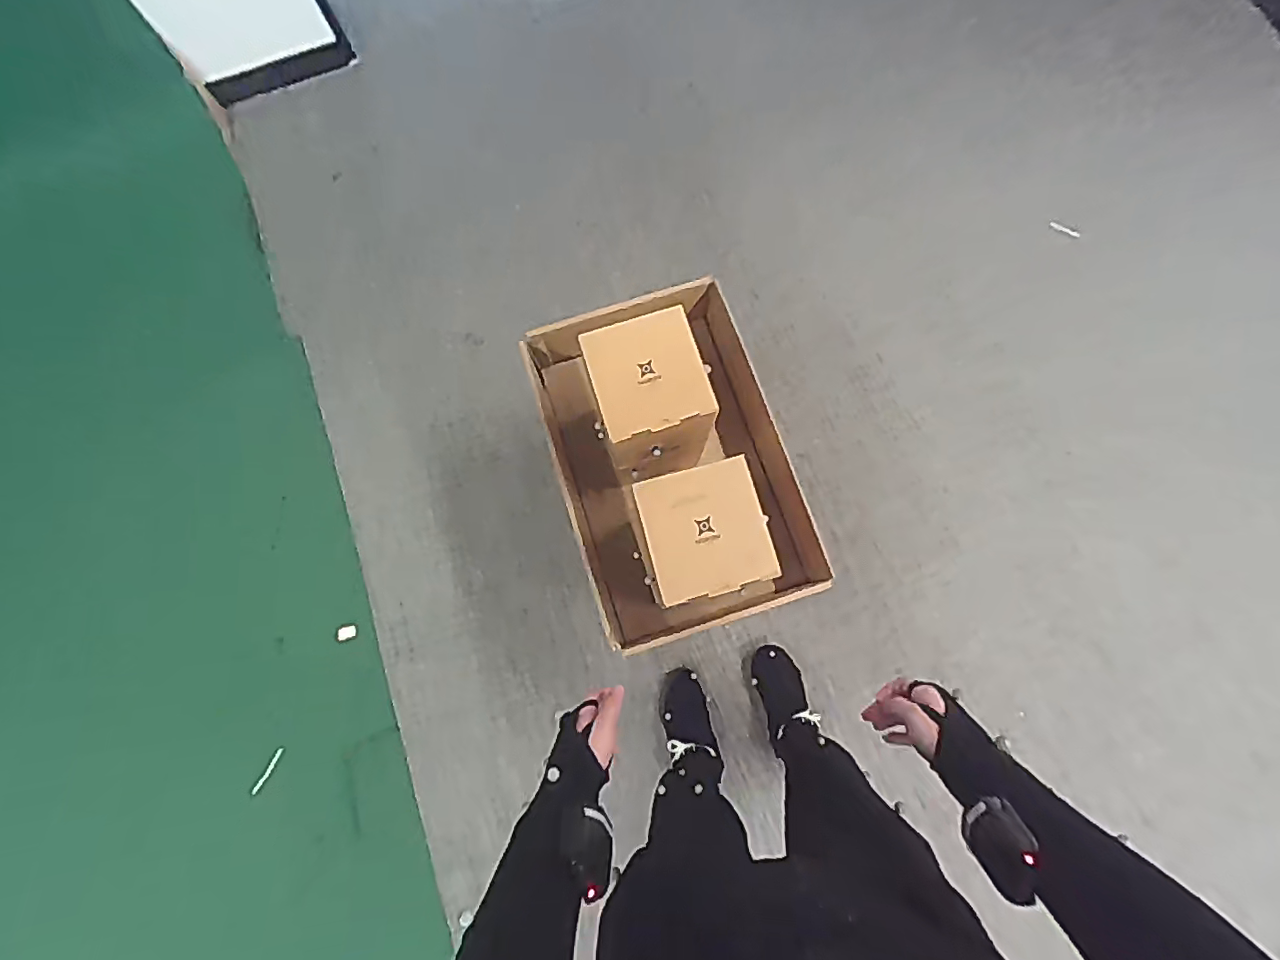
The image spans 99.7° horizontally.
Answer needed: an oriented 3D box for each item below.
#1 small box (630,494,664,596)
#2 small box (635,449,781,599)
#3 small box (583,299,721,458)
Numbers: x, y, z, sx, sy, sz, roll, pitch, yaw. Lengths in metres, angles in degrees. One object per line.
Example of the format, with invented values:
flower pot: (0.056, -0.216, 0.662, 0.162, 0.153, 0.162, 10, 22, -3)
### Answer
small box: (0.086, 0.102, 0.973, 0.168, 0.176, 0.179, -17, 77, -2)
small box: (0.094, 0.073, 0.813, 0.168, 0.176, 0.179, -15, 77, -2)
small box: (0.015, -0.153, 0.867, 0.168, 0.176, 0.179, -17, 80, -3)
